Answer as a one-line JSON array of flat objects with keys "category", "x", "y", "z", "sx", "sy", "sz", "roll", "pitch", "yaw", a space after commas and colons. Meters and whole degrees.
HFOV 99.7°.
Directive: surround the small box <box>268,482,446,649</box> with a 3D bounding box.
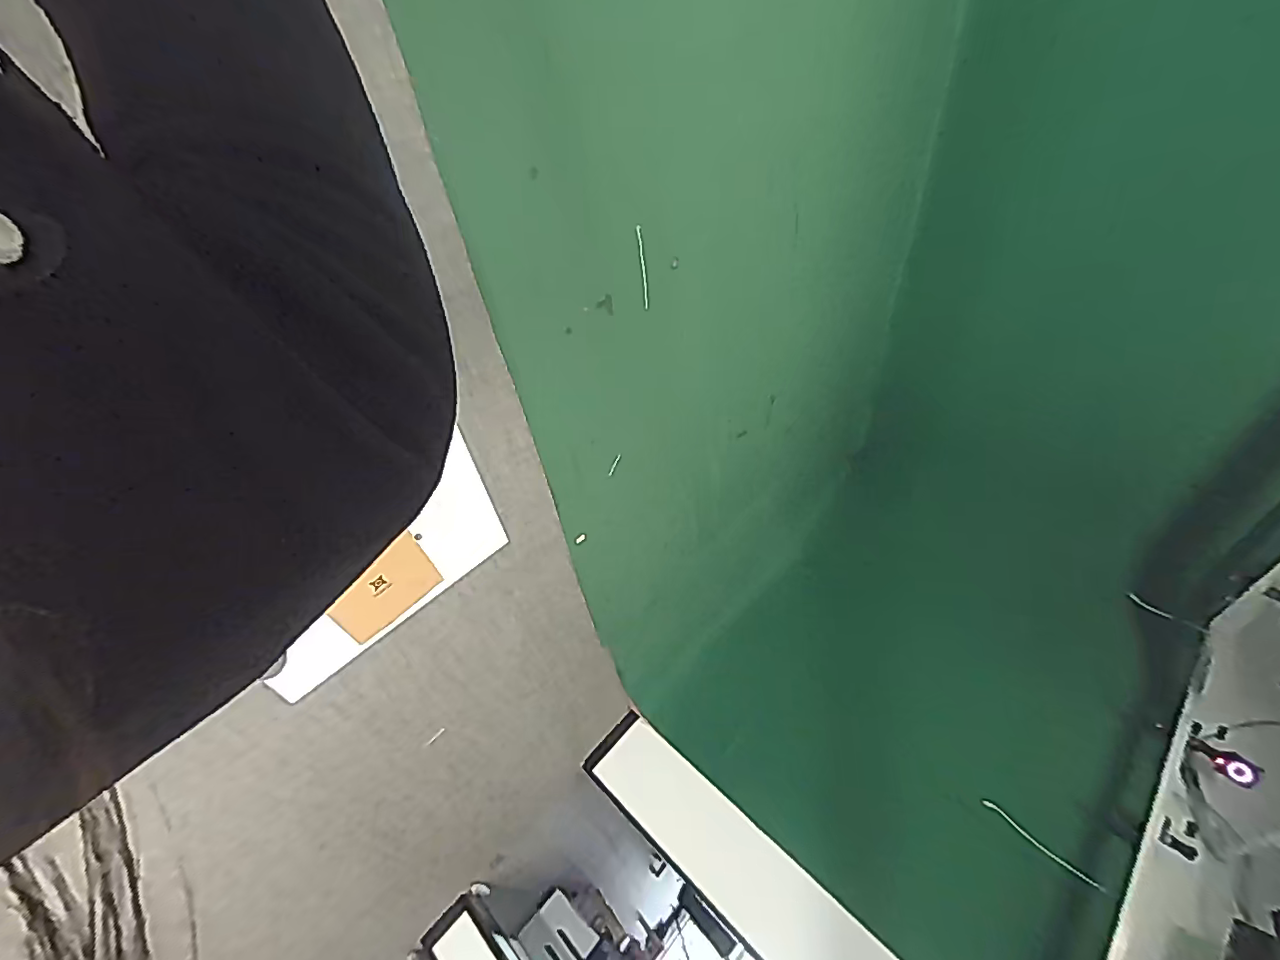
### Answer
[{"category": "small box", "x": -0.459, "y": 0.134, "z": 0.888, "sx": 0.168, "sy": 0.176, "sz": 0.179, "roll": -42, "pitch": 141, "yaw": -25}]
